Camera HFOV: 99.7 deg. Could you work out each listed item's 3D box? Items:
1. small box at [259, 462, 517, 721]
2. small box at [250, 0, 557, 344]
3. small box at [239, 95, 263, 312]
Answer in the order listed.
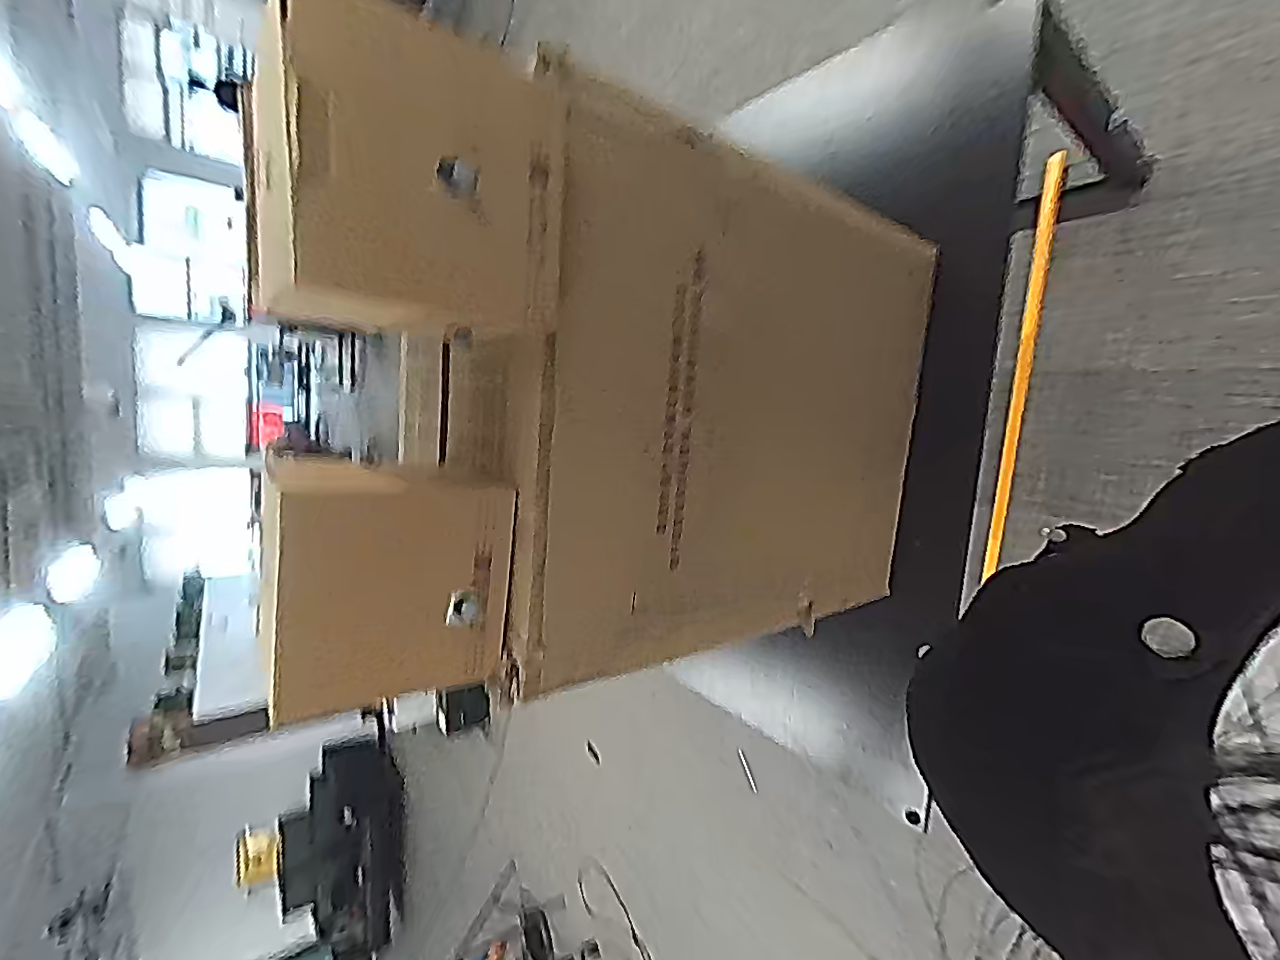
[{"bbox_3d":[-0.226,0.077,0.476,0.179,0.176,0.168,12,99,51],"label":"small box"},{"bbox_3d":[-0.175,-0.196,0.404,0.179,0.176,0.168,12,102,49],"label":"small box"},{"bbox_3d":[-0.320,-0.261,0.582,0.179,0.176,0.168,13,103,55],"label":"small box"}]
